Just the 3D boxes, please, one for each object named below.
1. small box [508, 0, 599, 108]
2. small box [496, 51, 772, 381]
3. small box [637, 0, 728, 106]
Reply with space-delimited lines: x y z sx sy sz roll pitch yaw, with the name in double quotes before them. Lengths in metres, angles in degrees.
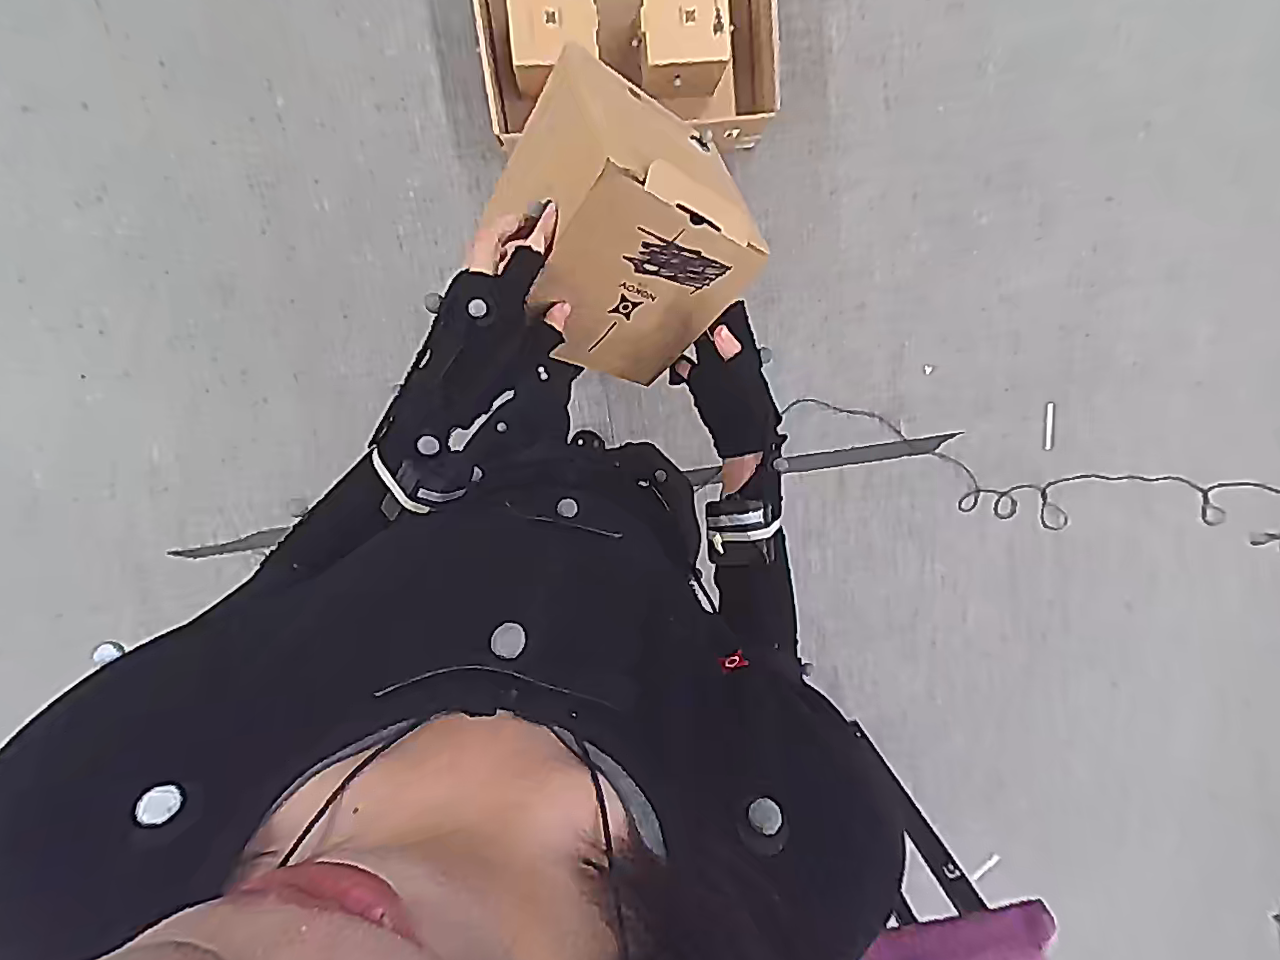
"small box" -0.180 -0.922 1.155 0.179 0.176 0.168 -5 103 -4
"small box" -0.020 -0.225 0.486 0.168 0.176 0.179 11 143 -36
"small box" 0.086 -0.943 1.176 0.179 0.176 0.168 -6 104 -2
